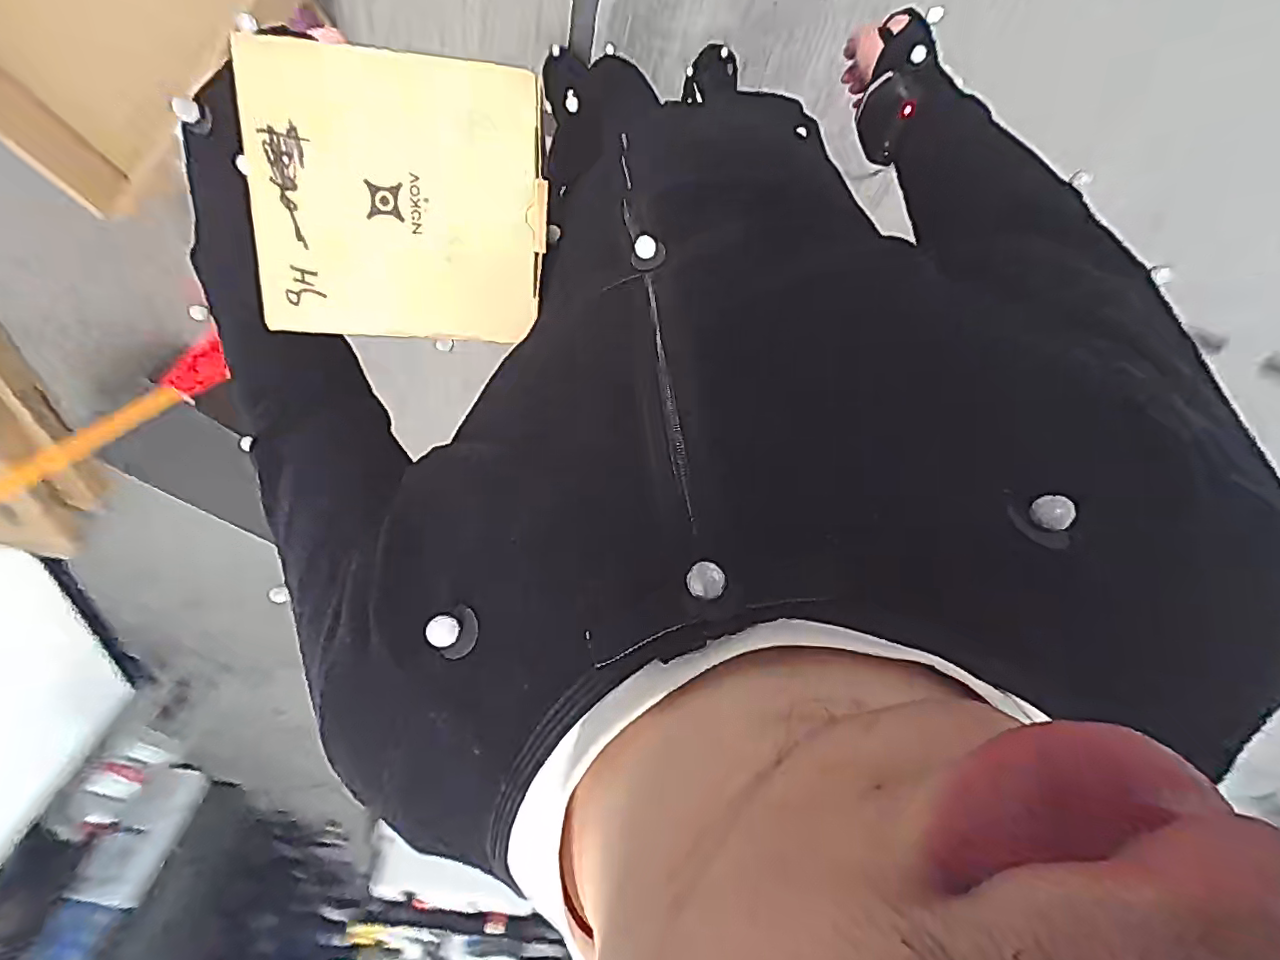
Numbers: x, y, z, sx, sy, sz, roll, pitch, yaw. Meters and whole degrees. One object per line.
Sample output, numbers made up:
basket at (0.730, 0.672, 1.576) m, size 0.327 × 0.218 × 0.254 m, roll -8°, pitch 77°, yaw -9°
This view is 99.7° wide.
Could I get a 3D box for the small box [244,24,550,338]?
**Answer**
small box at (-0.164, -0.206, 0.424) m, size 0.179 × 0.176 × 0.168 m, roll 1°, pitch 106°, yaw -10°
